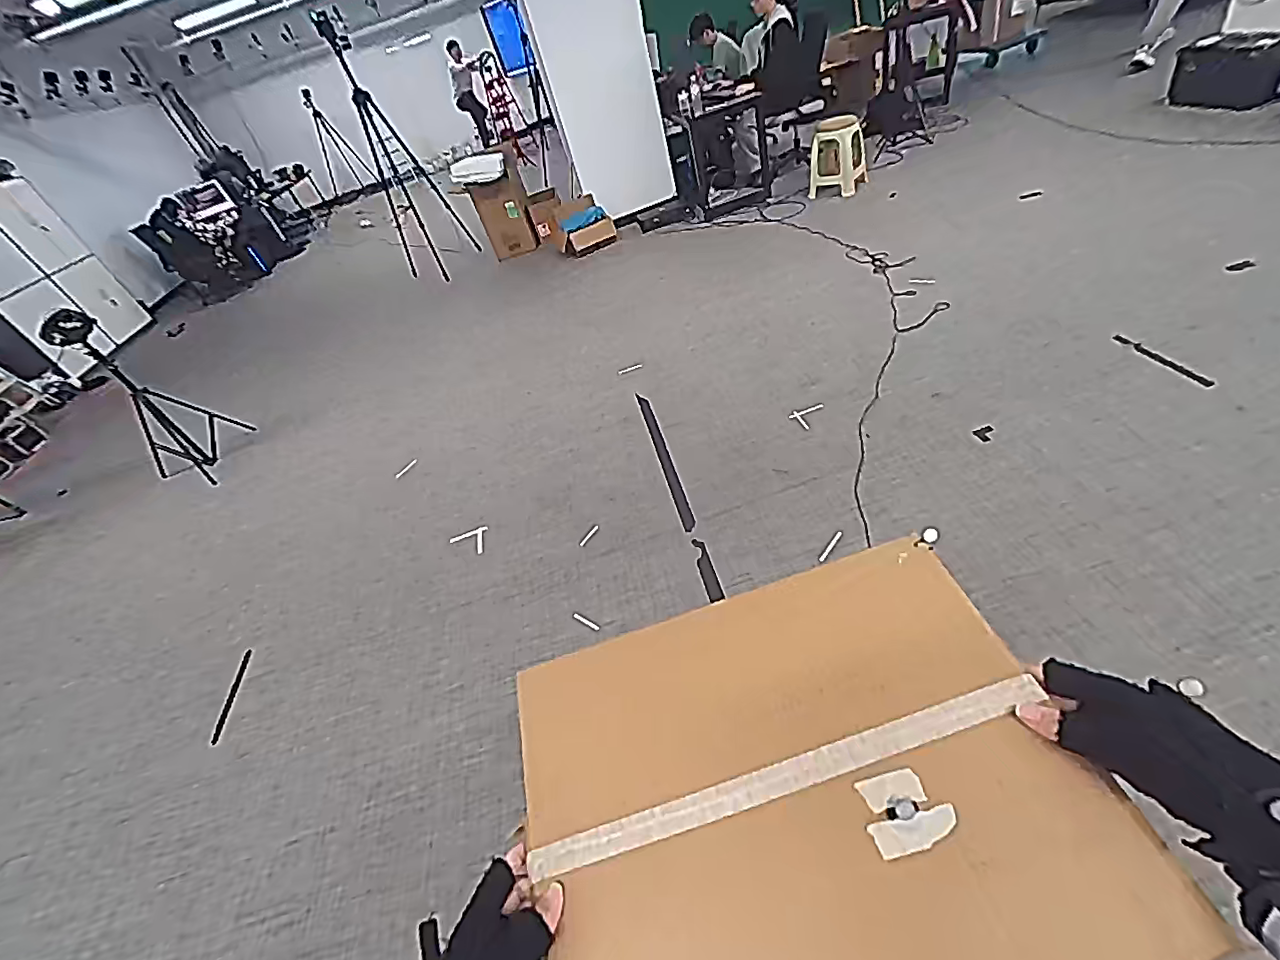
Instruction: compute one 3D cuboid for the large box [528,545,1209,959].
[{"bbox_3d":[0.148,0.331,0.525,0.408,0.320,0.320,-20,47,-1],"label":"large box"}]
